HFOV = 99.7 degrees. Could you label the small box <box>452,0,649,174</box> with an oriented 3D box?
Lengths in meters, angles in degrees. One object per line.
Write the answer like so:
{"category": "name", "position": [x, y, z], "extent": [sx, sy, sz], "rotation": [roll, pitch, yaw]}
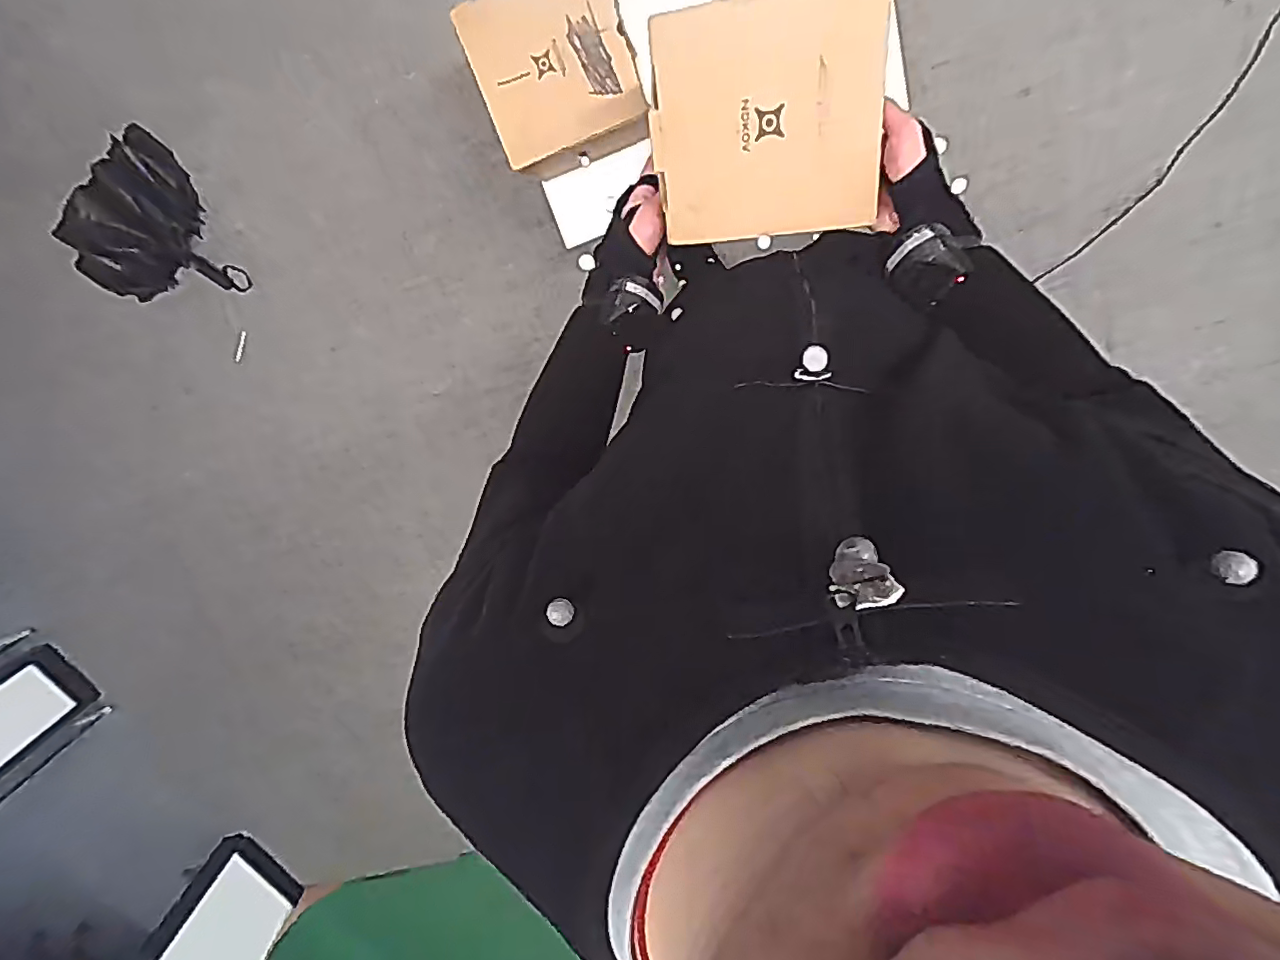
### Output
{"category": "small box", "position": [-0.093, -0.499, 0.667], "extent": [0.179, 0.176, 0.168], "rotation": [-16, 113, 12]}

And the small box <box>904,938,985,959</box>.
{"category": "small box", "position": [0.767, 1.252, 1.312], "extent": [0.179, 0.176, 0.168], "rotation": [-12, 114, 9]}
